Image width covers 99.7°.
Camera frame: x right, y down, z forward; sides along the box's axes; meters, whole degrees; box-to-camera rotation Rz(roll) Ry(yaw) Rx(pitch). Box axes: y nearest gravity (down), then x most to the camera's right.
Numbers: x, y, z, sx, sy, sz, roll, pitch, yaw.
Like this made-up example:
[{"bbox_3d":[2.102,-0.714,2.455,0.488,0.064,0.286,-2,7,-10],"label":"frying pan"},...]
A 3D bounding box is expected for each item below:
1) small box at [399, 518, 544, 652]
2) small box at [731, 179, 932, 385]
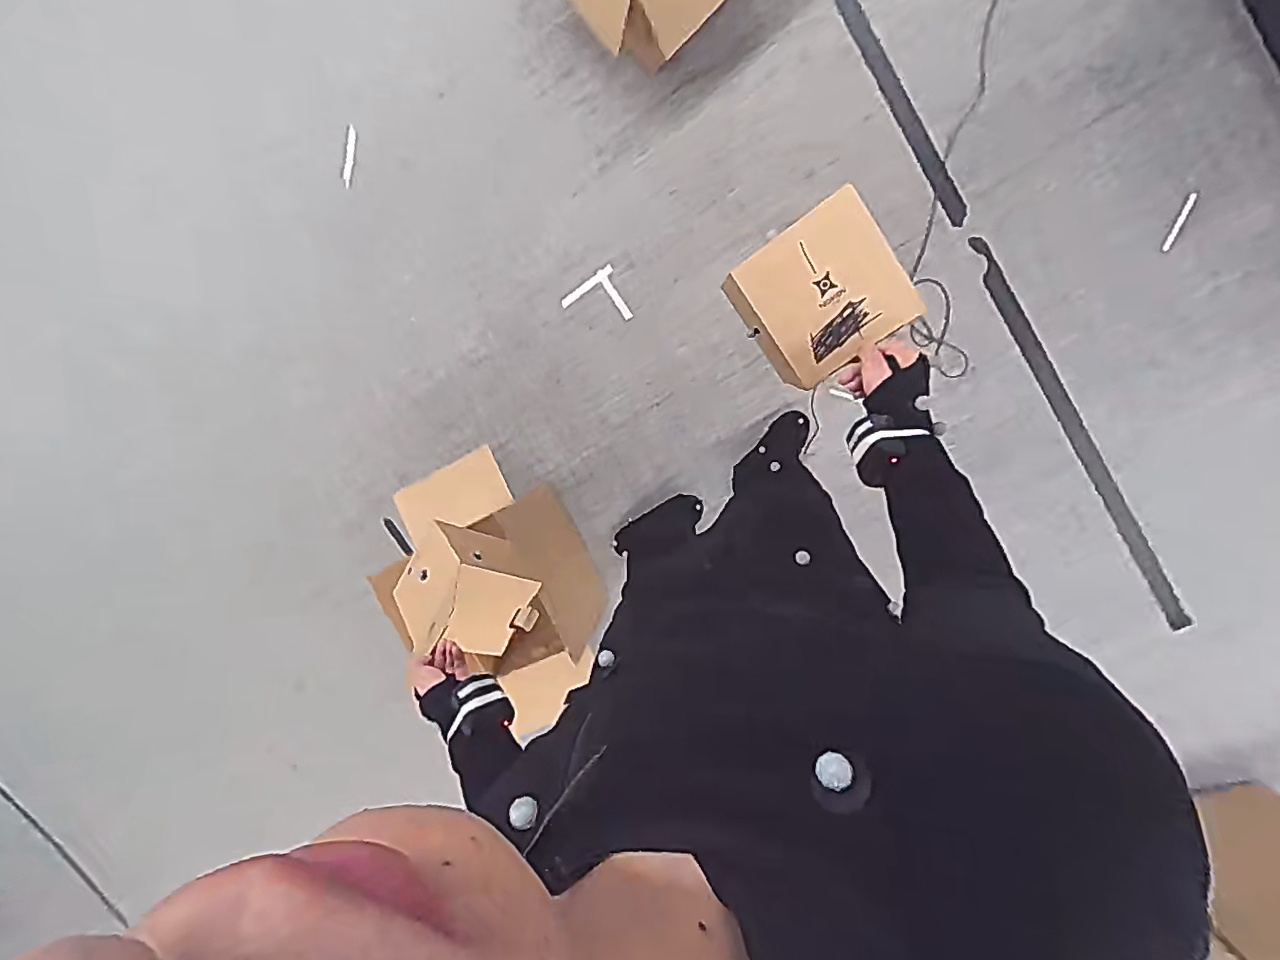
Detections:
[{"bbox_3d":[-0.317,0.190,1.000,0.176,0.179,0.168,36,97,47],"label":"small box"},{"bbox_3d":[0.237,-0.248,0.711,0.168,0.176,0.179,-34,99,12],"label":"small box"}]
